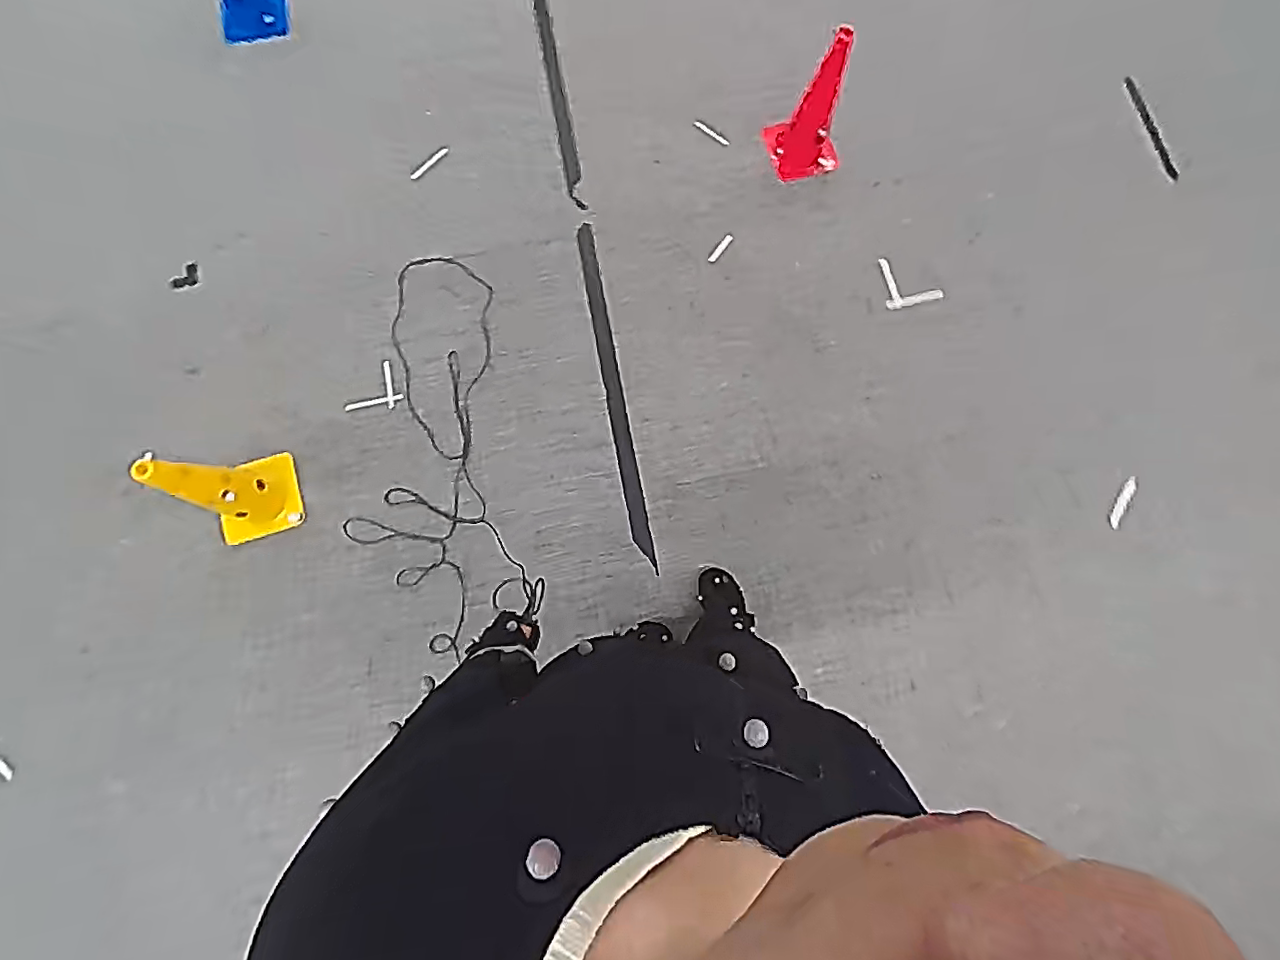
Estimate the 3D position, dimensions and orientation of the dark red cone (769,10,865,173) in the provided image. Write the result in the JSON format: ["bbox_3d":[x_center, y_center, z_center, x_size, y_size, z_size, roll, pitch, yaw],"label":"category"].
[{"bbox_3d":[0.503,-1.045,1.447,0.201,0.394,0.202,-18,80,-4],"label":"dark red cone"}]

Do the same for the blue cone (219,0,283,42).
[{"bbox_3d":[-1.203,-1.477,1.514,0.192,0.380,0.193,-10,79,-3],"label":"blue cone"}]
